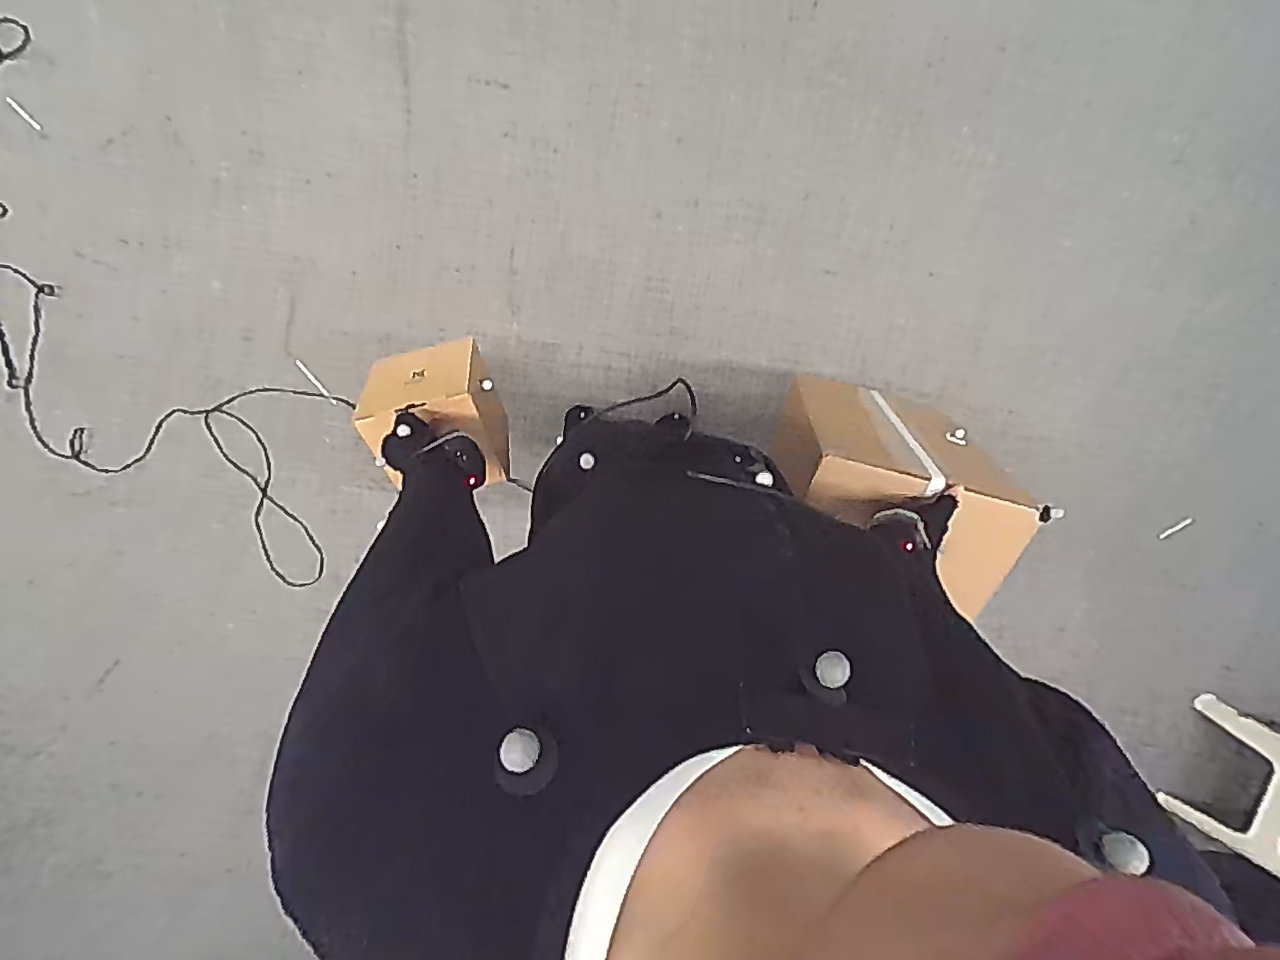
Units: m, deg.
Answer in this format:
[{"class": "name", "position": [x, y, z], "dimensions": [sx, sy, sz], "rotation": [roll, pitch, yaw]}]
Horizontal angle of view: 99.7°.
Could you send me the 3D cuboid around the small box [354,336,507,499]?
[{"class": "small box", "position": [-0.318, -0.099, 0.862], "dimensions": [0.168, 0.179, 0.176], "rotation": [-15, 133, -1]}]
